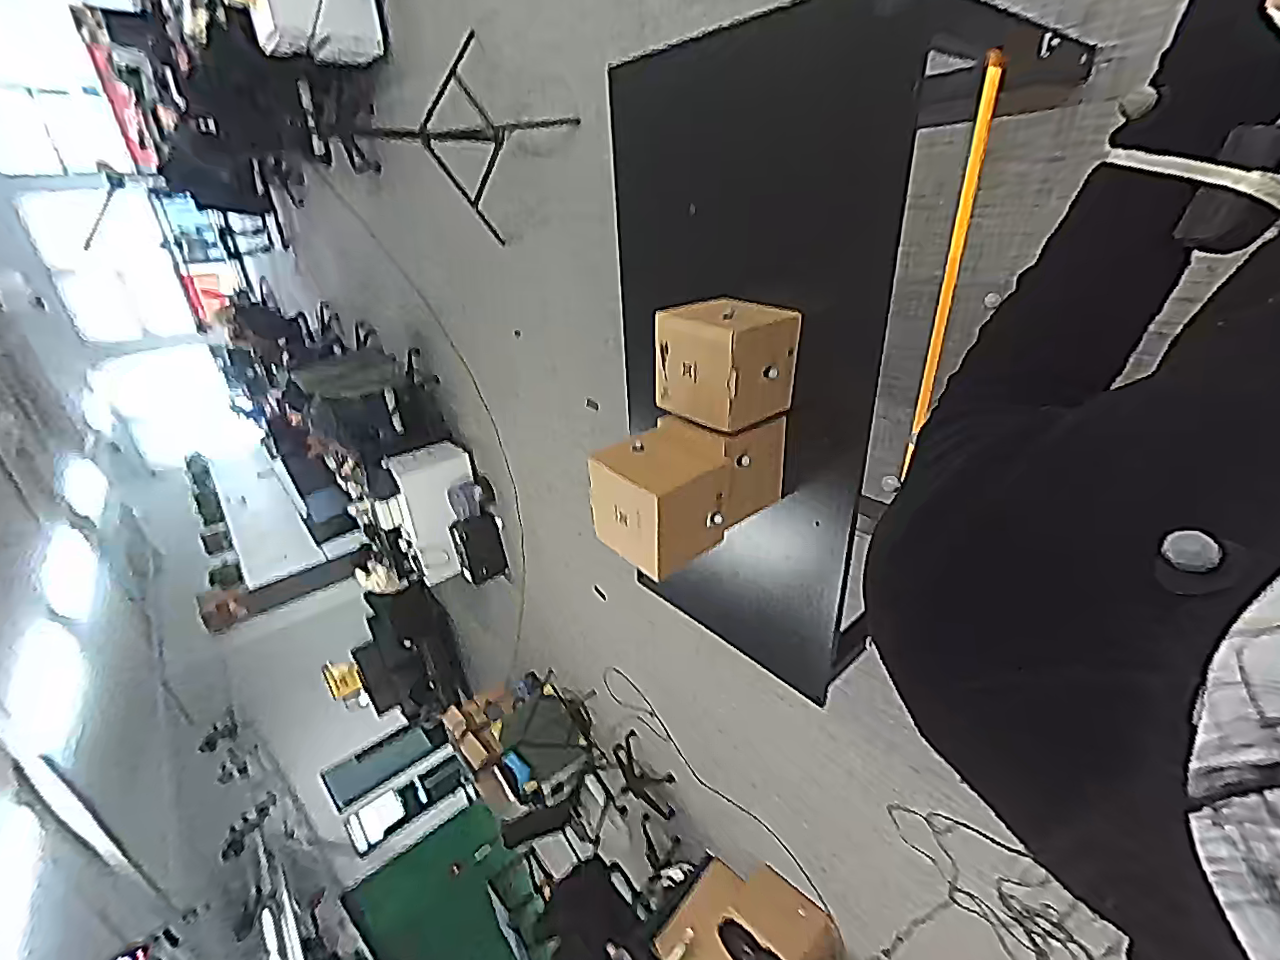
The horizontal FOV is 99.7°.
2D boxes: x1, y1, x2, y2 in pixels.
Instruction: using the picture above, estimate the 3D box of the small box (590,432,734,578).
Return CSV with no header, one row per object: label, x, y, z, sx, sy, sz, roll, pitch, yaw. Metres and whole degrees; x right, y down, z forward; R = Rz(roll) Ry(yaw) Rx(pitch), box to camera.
small box,0.036,0.031,0.923,0.179,0.176,0.168,28,132,41
